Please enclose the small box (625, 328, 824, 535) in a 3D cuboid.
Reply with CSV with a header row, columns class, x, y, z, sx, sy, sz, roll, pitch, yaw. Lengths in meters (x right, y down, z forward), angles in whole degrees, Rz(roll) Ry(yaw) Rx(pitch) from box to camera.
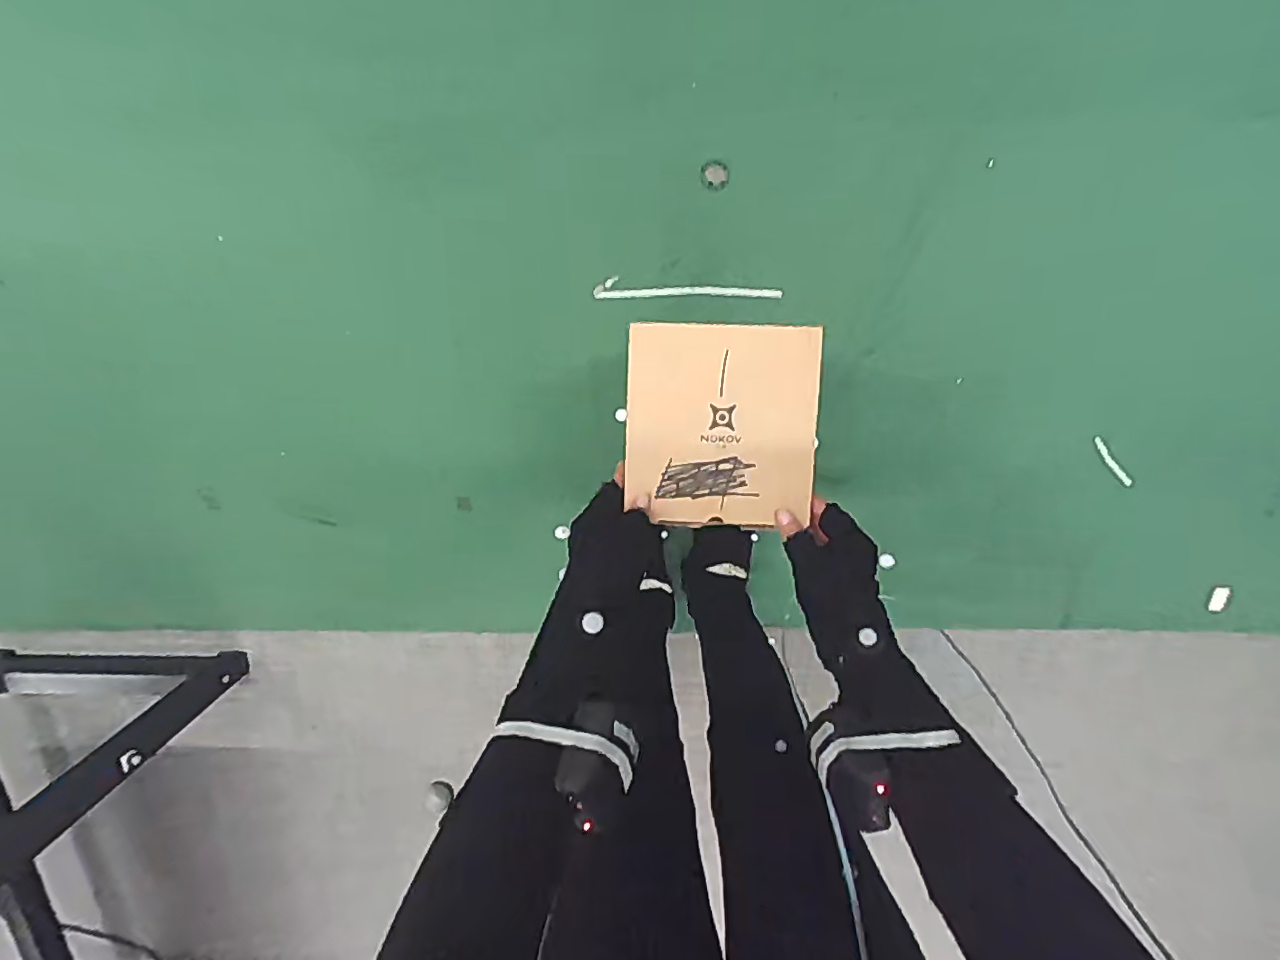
class,x,y,z,sx,sy,sz,roll,pitch,yaw
small box,0.077,-0.048,0.547,0.168,0.176,0.179,2,94,3
